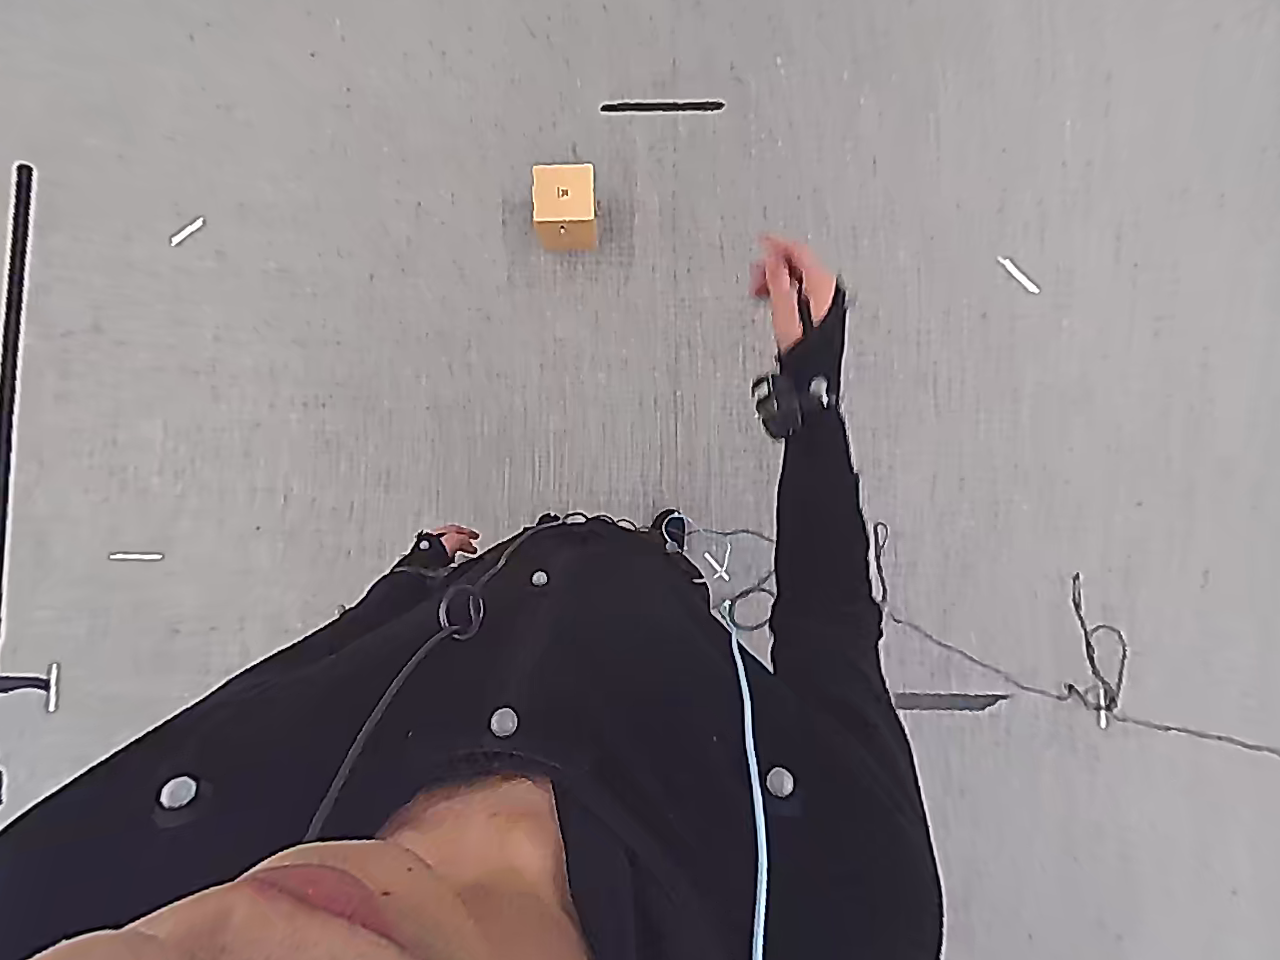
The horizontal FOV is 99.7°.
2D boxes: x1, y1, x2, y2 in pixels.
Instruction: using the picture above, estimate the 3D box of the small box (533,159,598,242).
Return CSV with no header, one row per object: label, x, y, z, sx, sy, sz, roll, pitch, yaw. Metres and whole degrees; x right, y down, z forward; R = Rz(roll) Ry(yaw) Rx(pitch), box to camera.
small box,-0.217,-0.828,1.615,0.179,0.176,0.168,-1,88,1
